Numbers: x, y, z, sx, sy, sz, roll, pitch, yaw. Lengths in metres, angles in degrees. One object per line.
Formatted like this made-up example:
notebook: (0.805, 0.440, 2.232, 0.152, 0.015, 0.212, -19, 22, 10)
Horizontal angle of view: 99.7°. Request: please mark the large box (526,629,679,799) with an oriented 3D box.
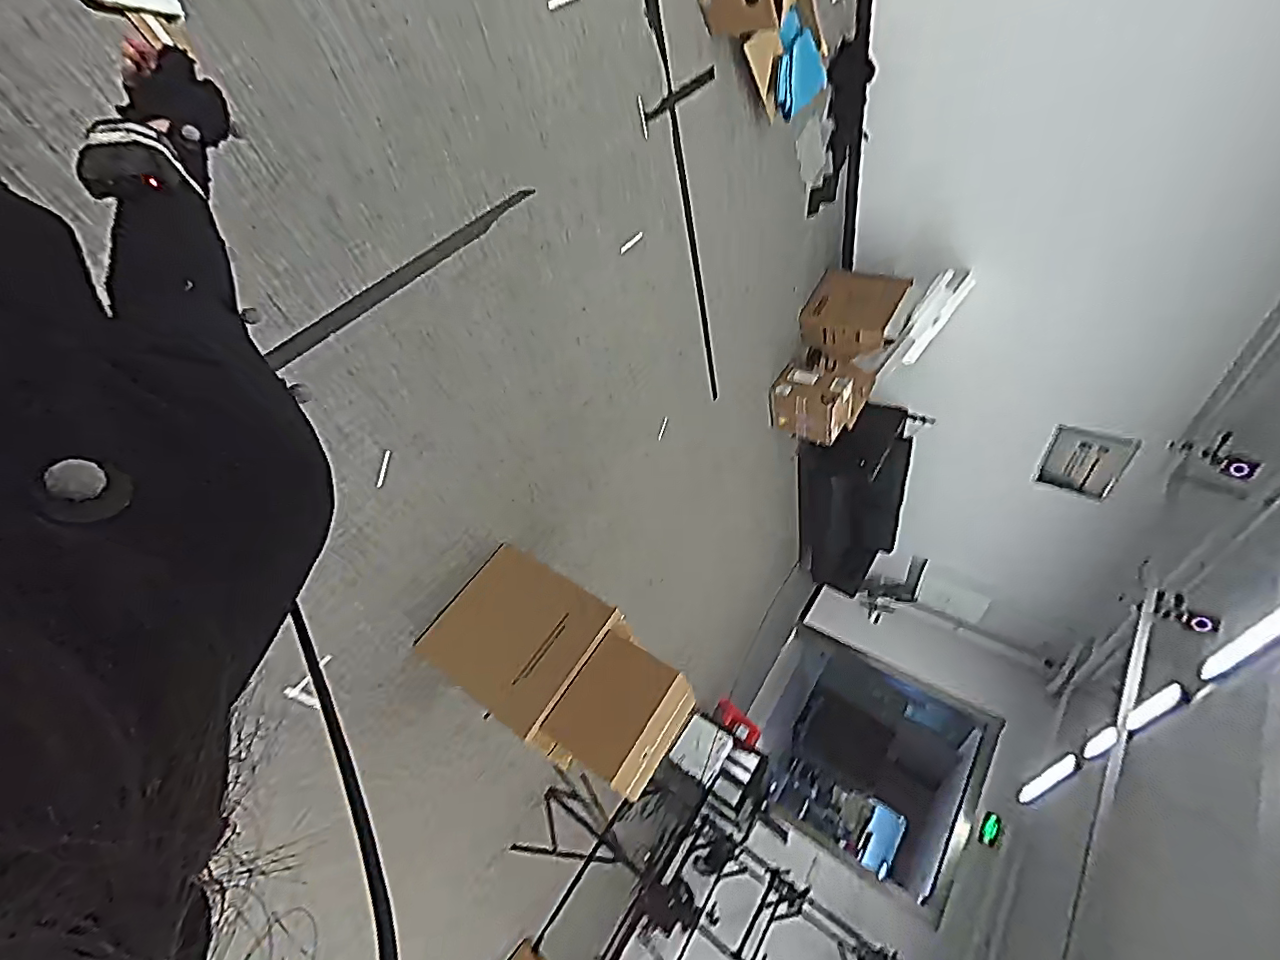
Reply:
large box: (-0.116, 0.803, 1.880, 0.408, 0.320, 0.320, -51, 145, -24)
